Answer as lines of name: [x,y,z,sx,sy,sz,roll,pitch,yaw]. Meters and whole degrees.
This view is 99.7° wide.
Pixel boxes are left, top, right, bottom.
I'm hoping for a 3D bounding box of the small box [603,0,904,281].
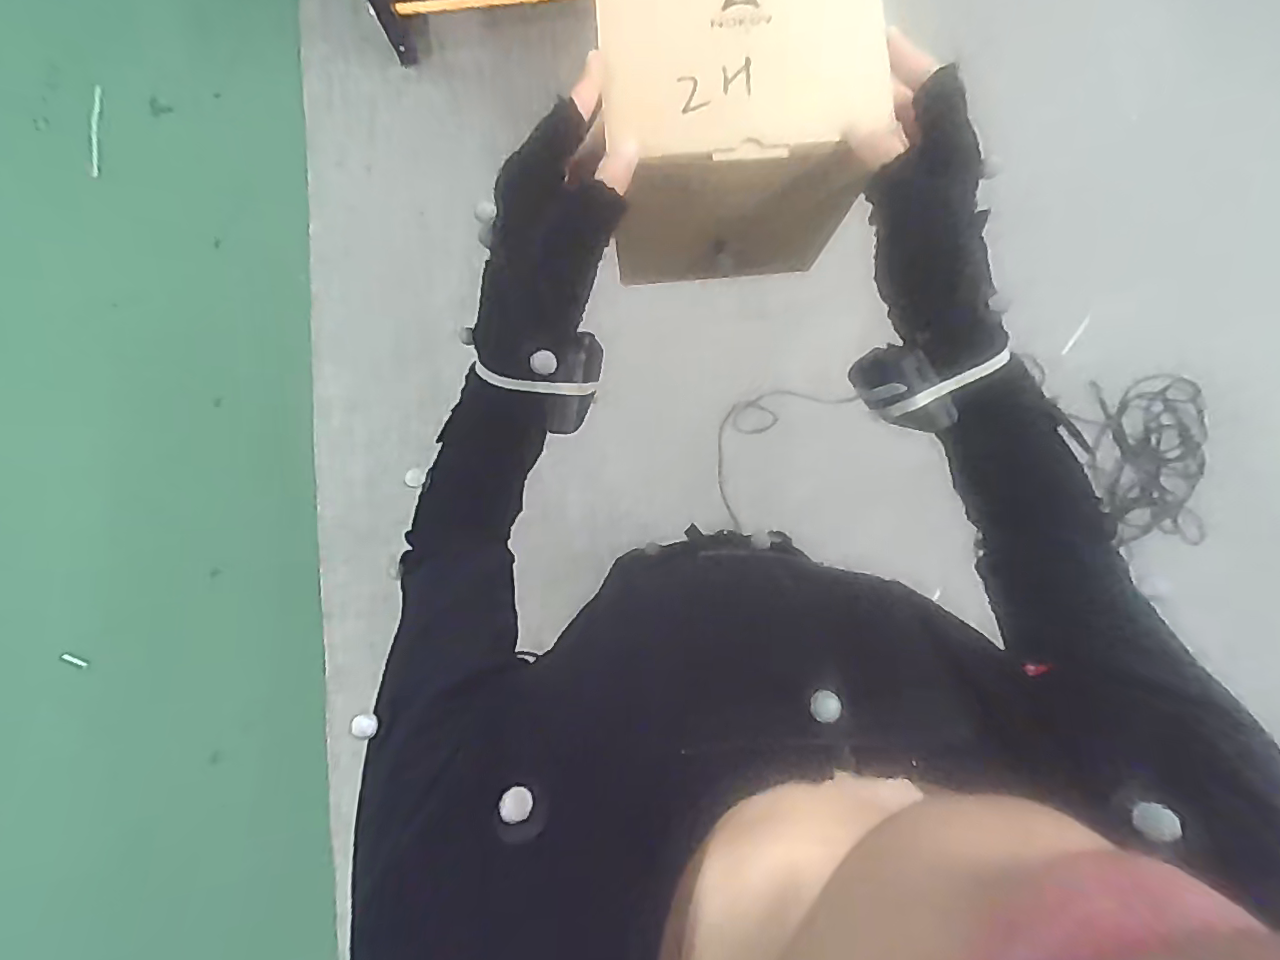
small box: [0.061,-0.265,0.385,0.168,0.176,0.179,-4,85,2]
